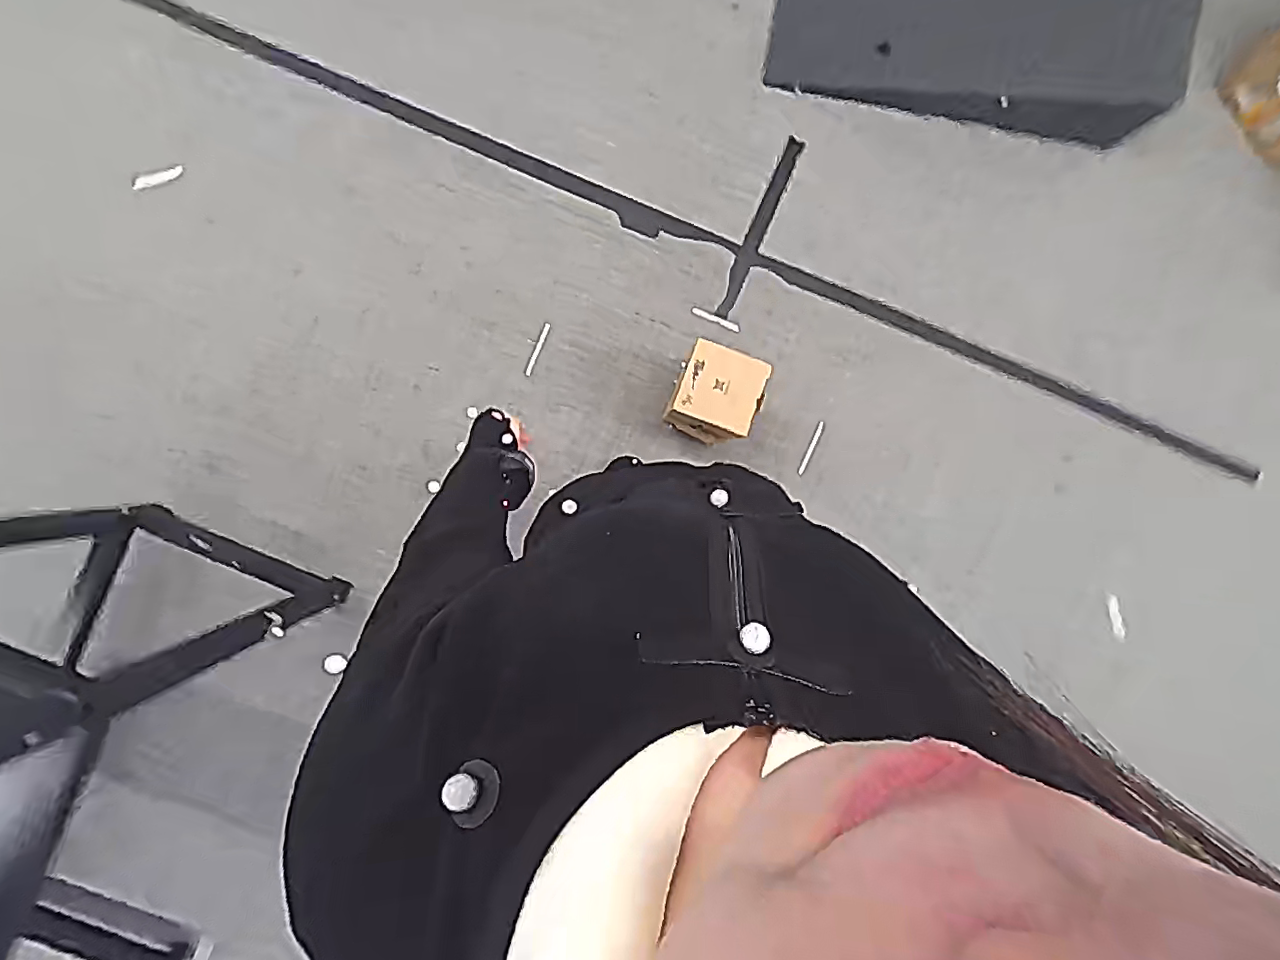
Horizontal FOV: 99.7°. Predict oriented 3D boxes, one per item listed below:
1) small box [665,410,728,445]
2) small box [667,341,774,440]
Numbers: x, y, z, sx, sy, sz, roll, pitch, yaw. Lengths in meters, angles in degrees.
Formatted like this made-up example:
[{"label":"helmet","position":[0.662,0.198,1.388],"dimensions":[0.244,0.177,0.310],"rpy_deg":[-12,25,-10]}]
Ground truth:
[{"label":"small box","position":[0.172,-0.200,1.400],"dimensions":[0.168,0.176,0.179],"rpy_deg":[26,91,-3]},{"label":"small box","position":[0.175,-0.197,1.236],"dimensions":[0.179,0.176,0.168],"rpy_deg":[21,91,-4]}]
